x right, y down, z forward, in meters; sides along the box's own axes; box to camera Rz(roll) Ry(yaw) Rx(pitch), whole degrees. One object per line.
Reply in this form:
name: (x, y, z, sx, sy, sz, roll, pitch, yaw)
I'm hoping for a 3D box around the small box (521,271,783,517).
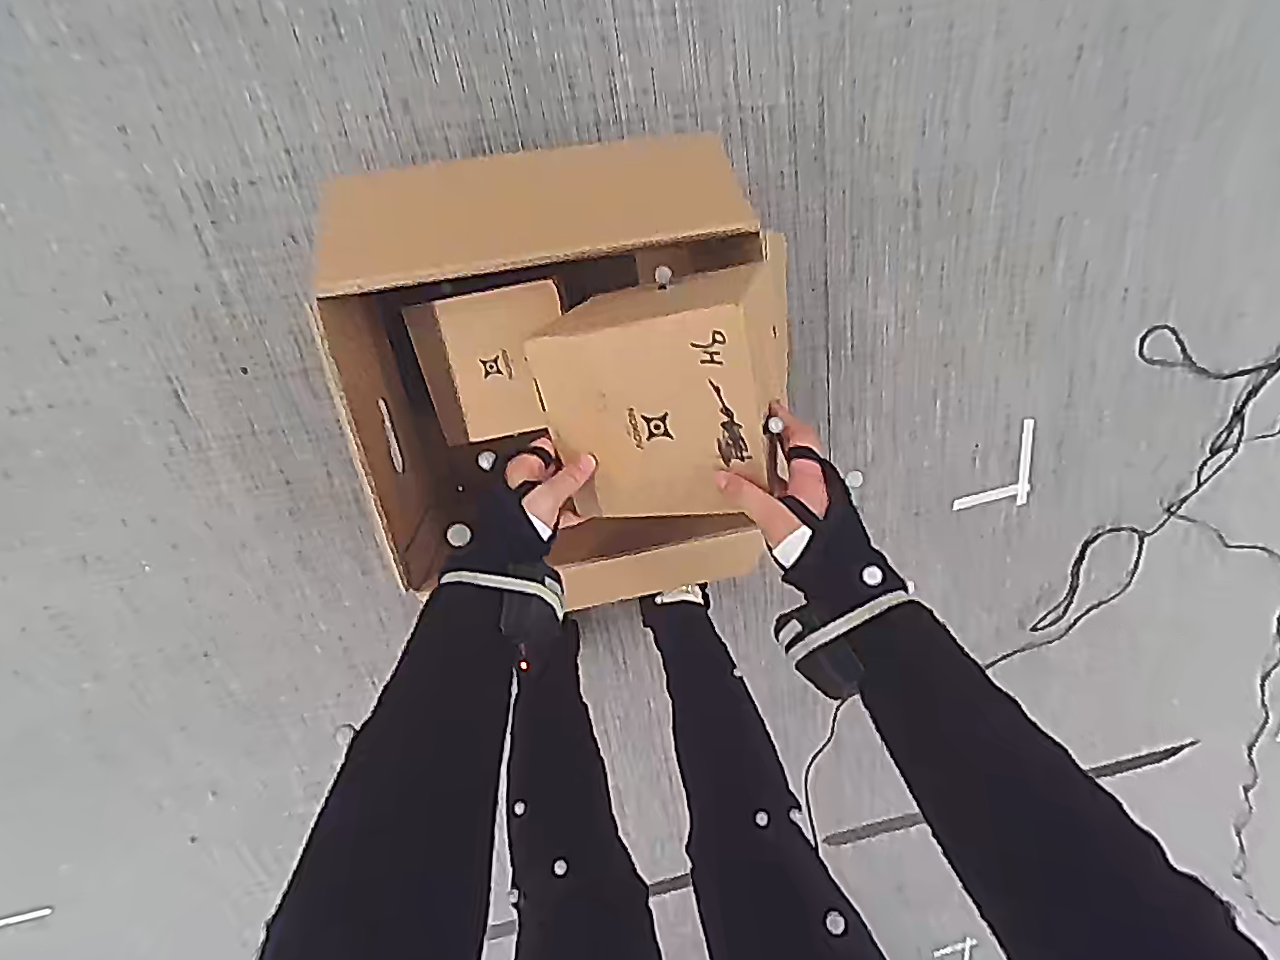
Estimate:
small box: (0.027, -0.080, 0.496, 0.179, 0.176, 0.168, -3, 119, 23)
